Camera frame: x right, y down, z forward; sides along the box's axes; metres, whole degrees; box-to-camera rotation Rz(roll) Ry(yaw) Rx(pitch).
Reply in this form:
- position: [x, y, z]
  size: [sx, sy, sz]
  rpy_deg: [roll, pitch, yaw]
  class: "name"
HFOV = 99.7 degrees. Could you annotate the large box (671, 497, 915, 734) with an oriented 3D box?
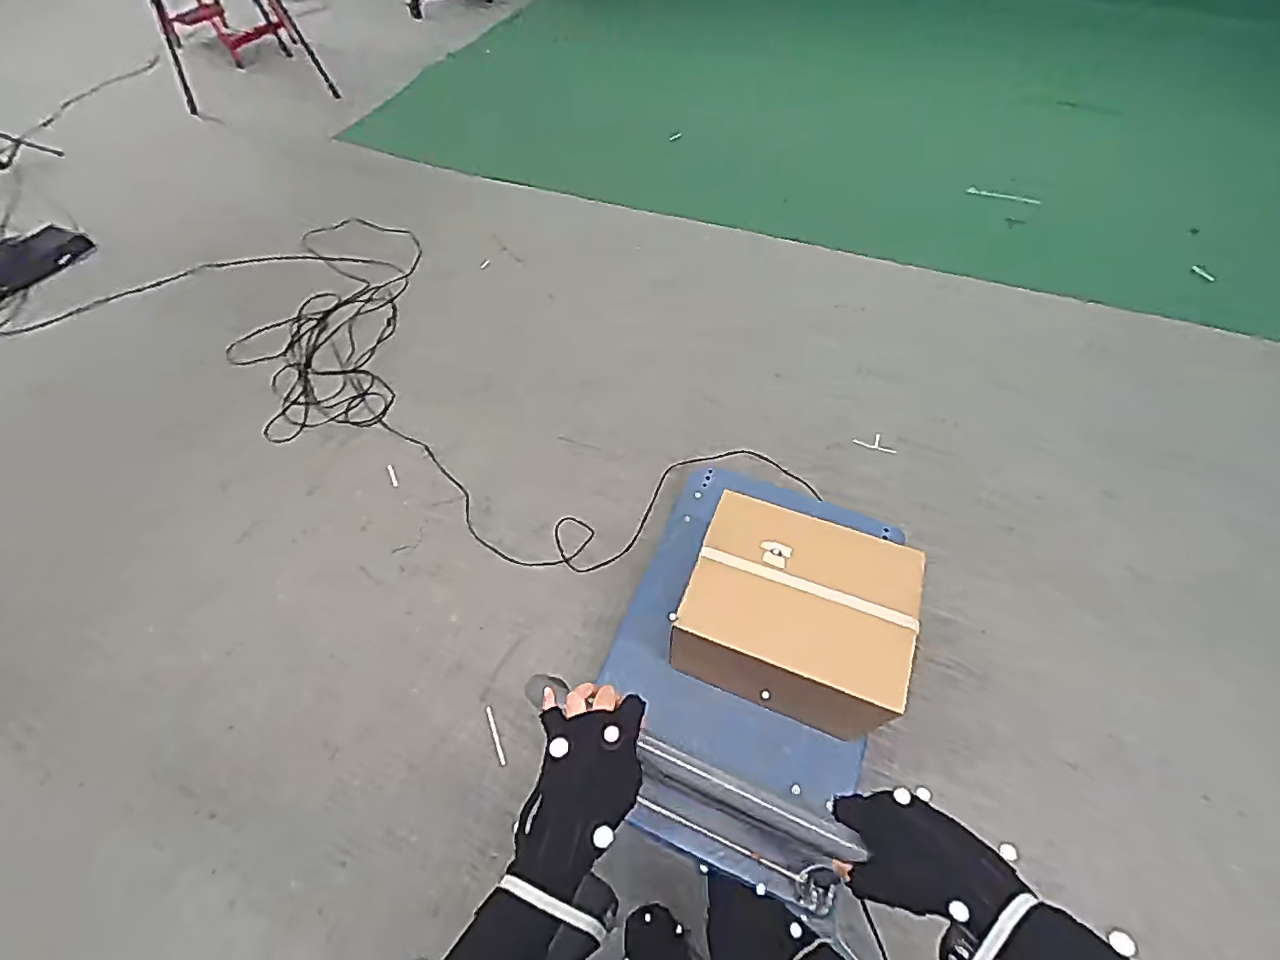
- position: [0.305, 0.289, 1.139]
  size: [0.408, 0.320, 0.320]
  rpy_deg: [17, 59, 15]
  class: "large box"
